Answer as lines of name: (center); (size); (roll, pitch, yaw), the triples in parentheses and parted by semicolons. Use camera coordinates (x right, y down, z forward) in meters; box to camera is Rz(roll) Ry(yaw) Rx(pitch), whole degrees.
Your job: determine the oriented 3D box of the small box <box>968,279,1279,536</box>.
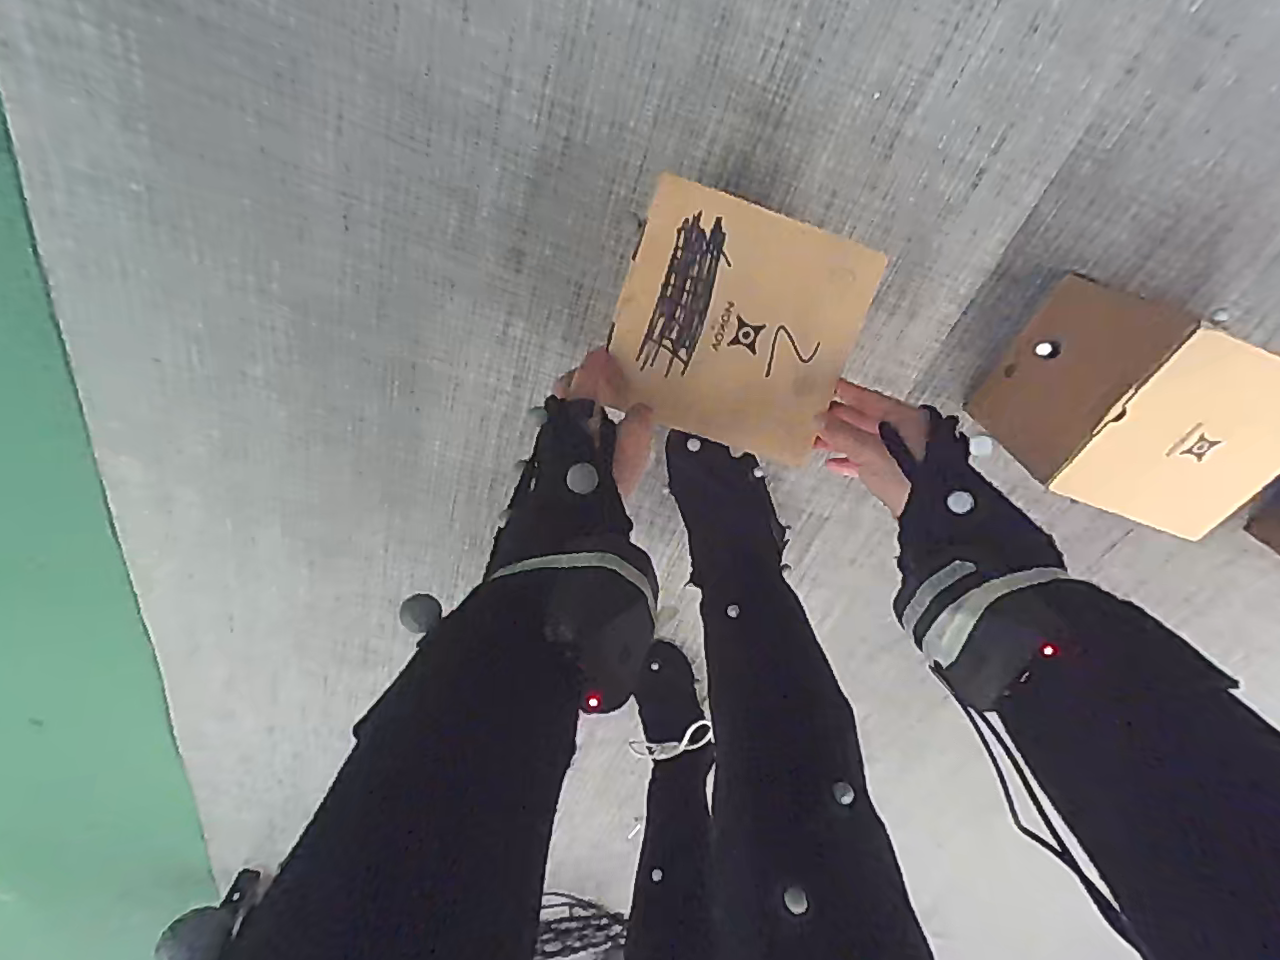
small box: (0.479, -0.078, 0.533); (0.179, 0.176, 0.168); (18, 123, -8)
